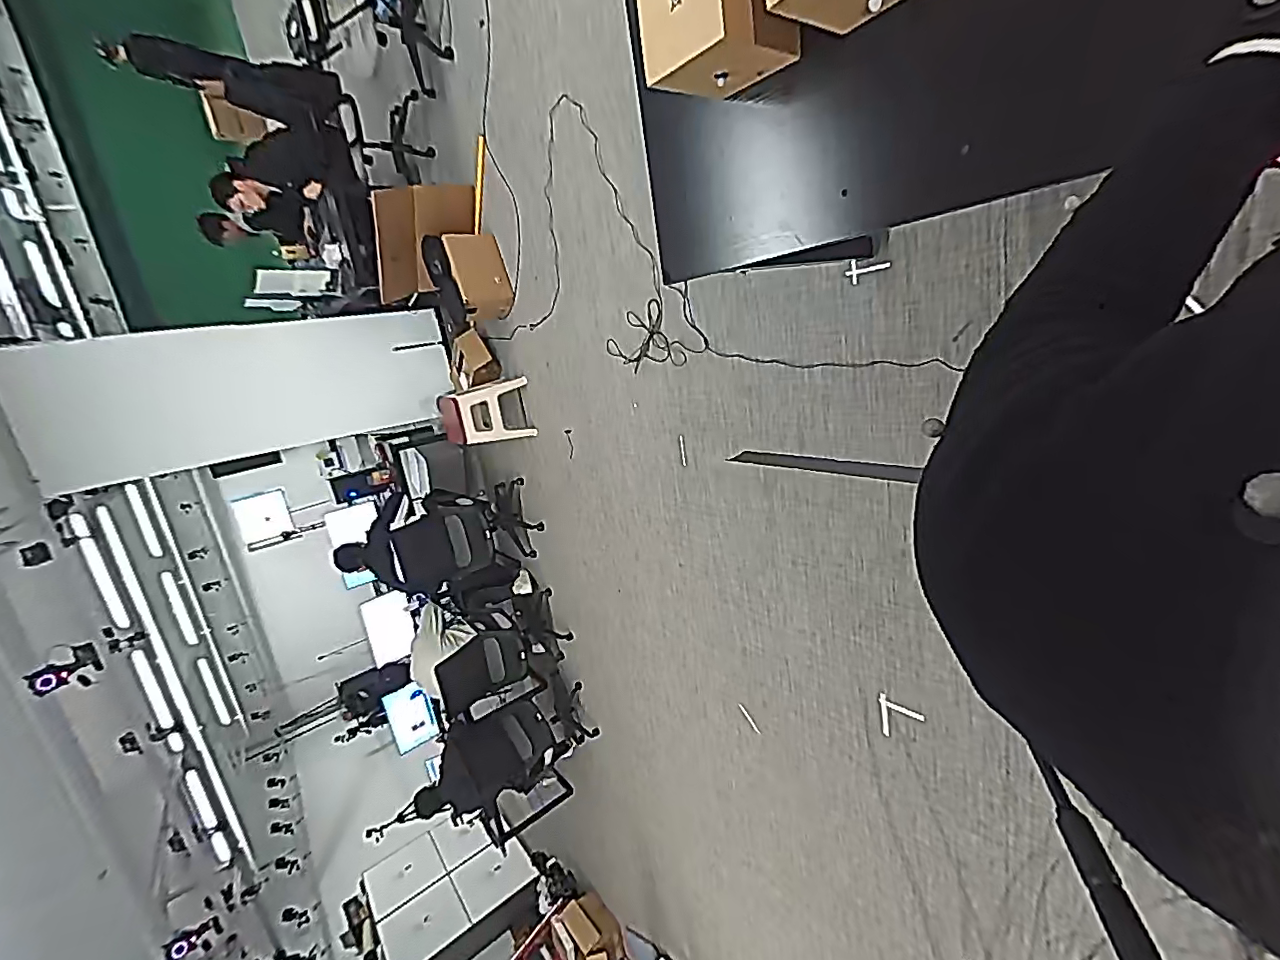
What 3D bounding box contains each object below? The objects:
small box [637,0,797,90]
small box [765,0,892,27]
[{"bbox_3d":[0.113,-0.700,0.789,0.168,0.176,0.179,14,117,50],"label":"small box"},{"bbox_3d":[0.249,-0.667,0.613,0.168,0.176,0.179,9,115,52],"label":"small box"}]
